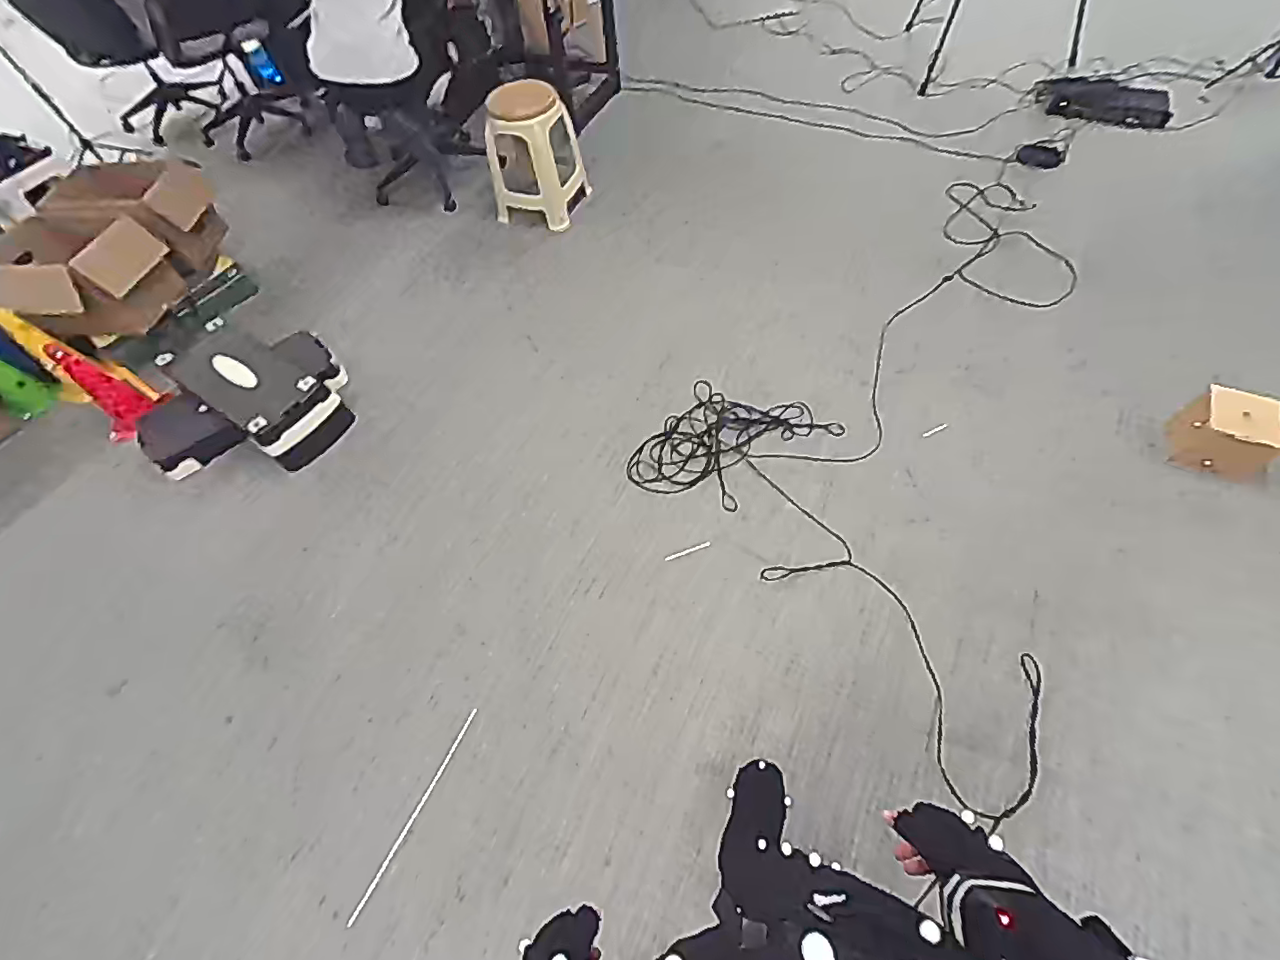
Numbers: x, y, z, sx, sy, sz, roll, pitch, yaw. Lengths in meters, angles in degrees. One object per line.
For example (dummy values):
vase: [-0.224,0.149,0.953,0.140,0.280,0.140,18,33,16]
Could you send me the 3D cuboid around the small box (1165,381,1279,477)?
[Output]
small box: [1.627,-0.140,1.515,0.168,0.176,0.179,21,63,18]
